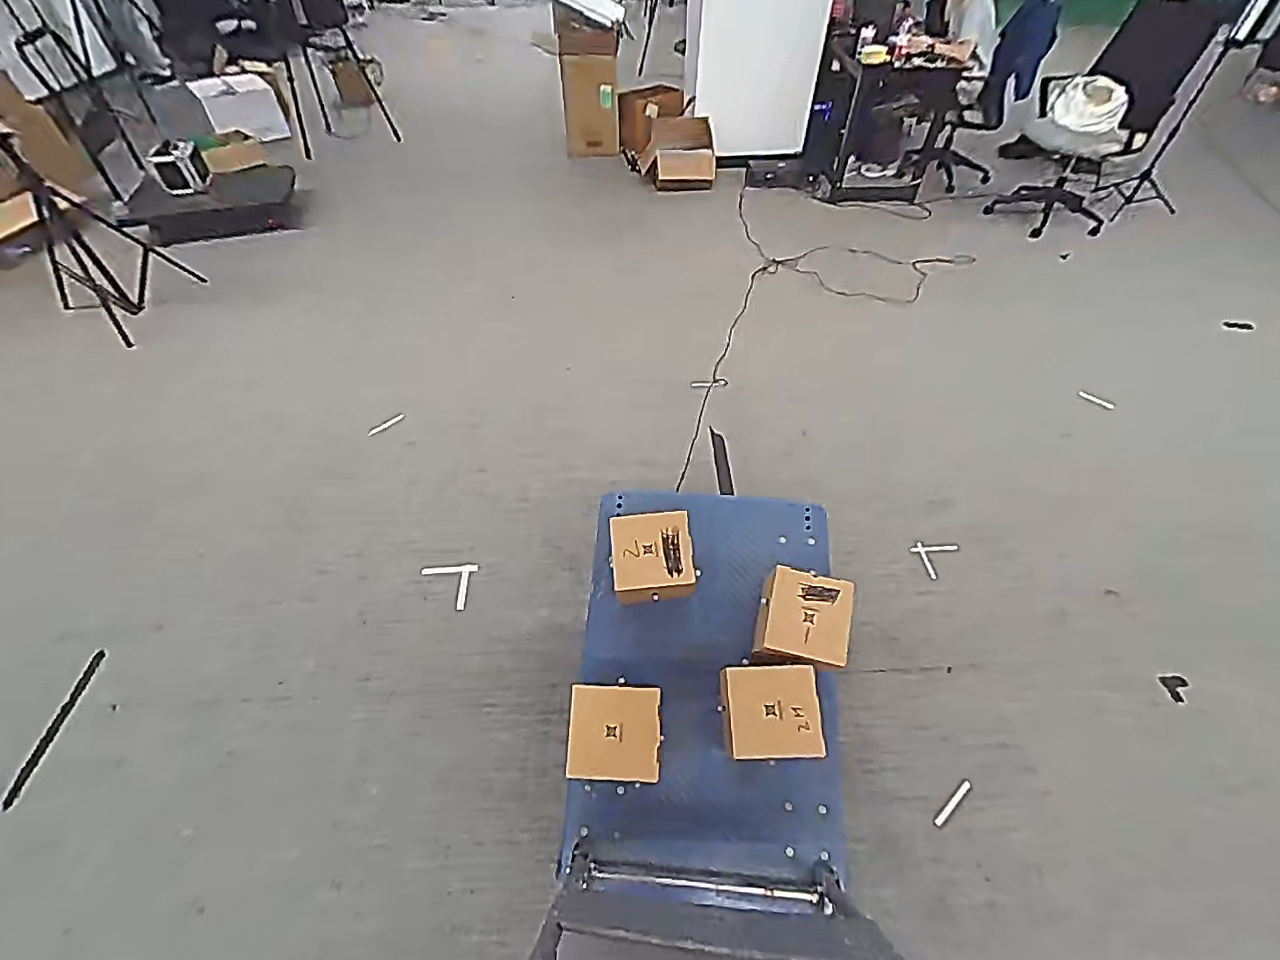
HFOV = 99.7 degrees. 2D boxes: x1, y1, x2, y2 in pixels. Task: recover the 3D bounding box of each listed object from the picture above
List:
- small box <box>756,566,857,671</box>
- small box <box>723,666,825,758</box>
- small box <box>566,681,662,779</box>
[{"bbox_3d":[0.356,0.306,1.179,0.168,0.176,0.179,13,70,8],"label":"small box"},{"bbox_3d":[0.264,0.475,1.113,0.179,0.176,0.168,-2,68,2],"label":"small box"},{"bbox_3d":[-0.046,0.511,1.113,0.179,0.176,0.168,2,67,2],"label":"small box"}]
